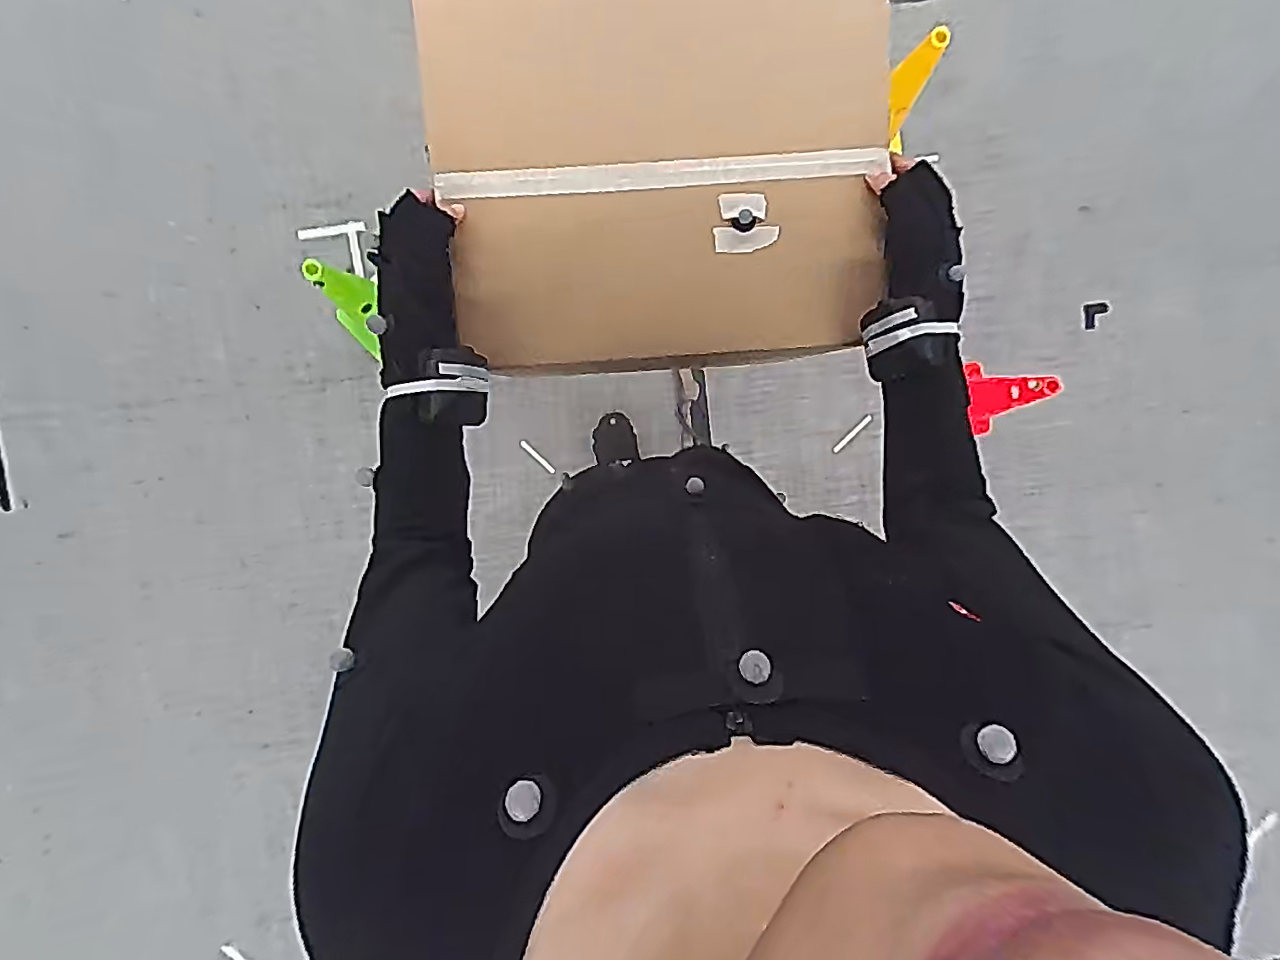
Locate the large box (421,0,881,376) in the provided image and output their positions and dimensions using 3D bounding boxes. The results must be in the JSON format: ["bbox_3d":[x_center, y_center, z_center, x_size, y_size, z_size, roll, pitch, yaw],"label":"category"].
[{"bbox_3d":[0.012,-0.299,0.634,0.408,0.320,0.320,-4,100,-3],"label":"large box"}]

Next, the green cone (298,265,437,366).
[{"bbox_3d":[-0.661,-0.422,1.250,0.202,0.368,0.200,-45,92,1],"label":"green cone"}]
